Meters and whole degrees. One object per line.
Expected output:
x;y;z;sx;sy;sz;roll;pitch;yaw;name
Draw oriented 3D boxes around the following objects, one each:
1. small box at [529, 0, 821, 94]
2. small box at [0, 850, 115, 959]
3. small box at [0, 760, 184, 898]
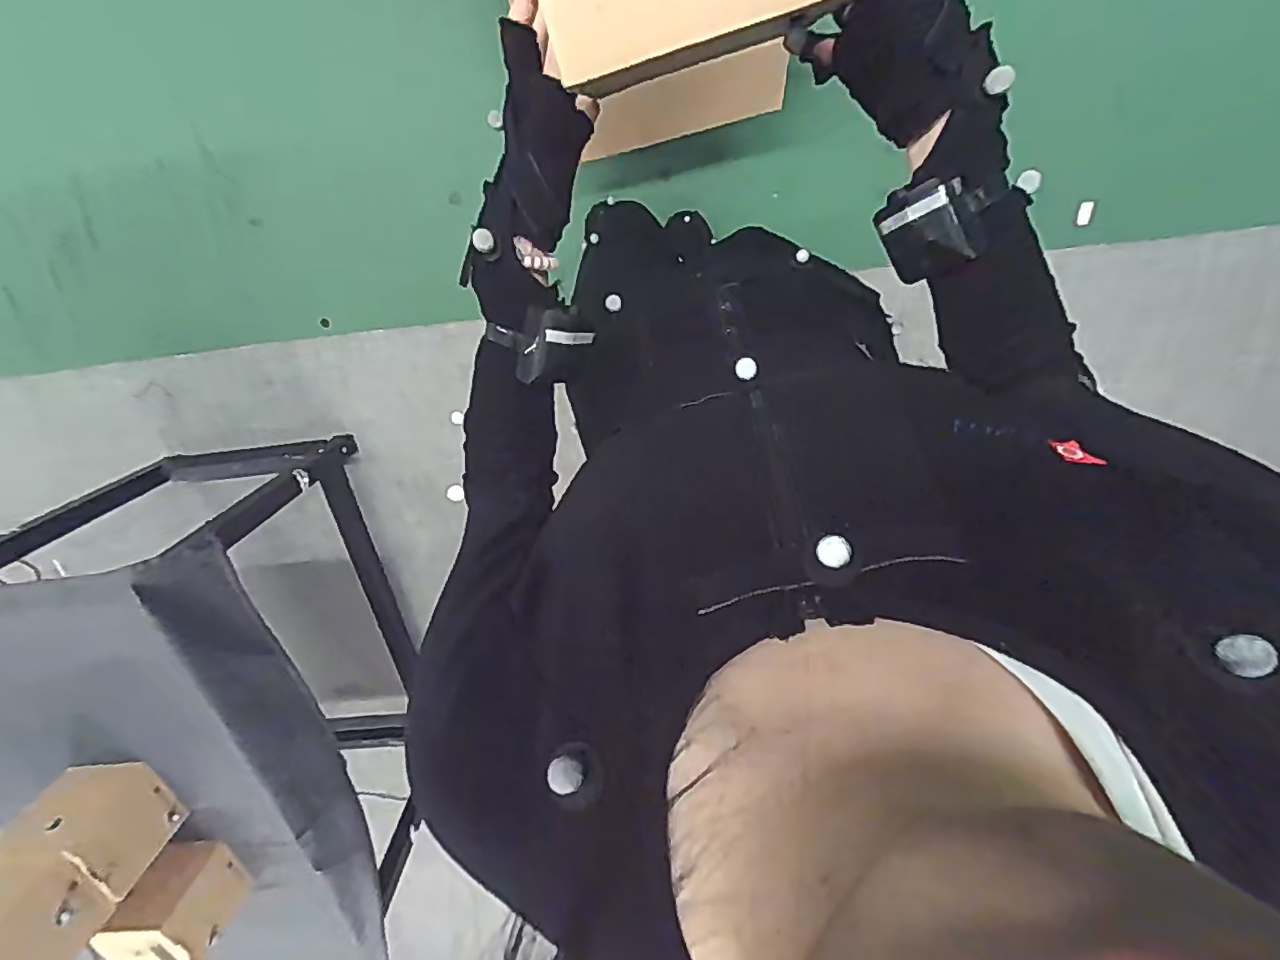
0.016;-0.343;0.307;0.179;0.176;0.168;-13;122;9;small box
-1.045;0.742;0.886;0.179;0.176;0.168;-8;115;5;small box
-1.027;0.659;1.027;0.179;0.176;0.168;-6;115;6;small box
